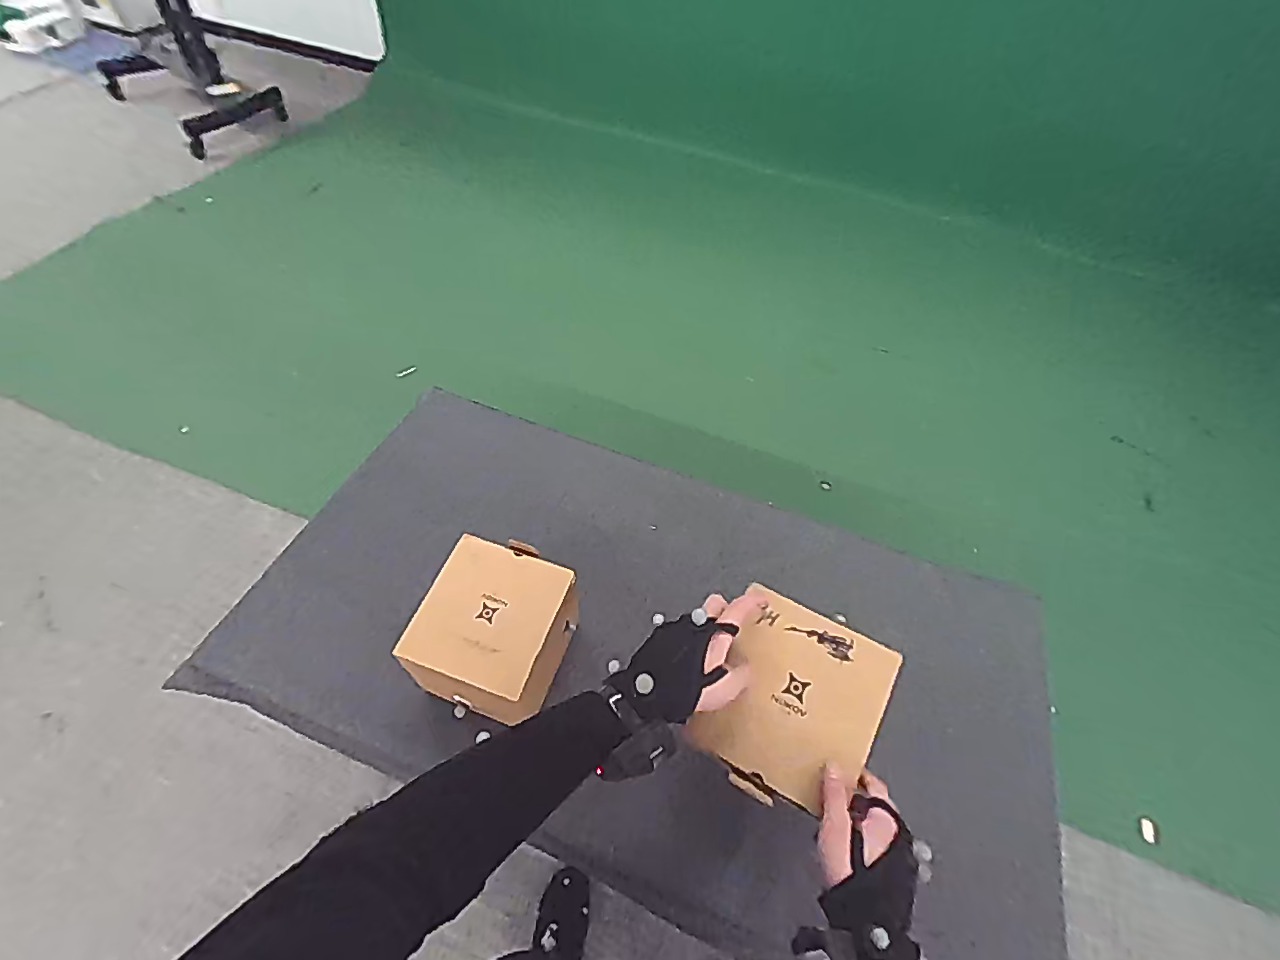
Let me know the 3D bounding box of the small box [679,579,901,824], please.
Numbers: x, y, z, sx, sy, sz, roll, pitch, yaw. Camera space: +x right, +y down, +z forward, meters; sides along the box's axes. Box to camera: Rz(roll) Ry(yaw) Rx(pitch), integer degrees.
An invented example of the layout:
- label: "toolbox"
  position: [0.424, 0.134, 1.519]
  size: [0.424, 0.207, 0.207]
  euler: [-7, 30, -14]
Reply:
- label: "small box"
  position: [0.159, 0.246, 0.616]
  size: [0.168, 0.176, 0.179]
  euler: [29, 70, 17]

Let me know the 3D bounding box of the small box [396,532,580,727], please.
- label: "small box"
  position: [-0.191, 0.205, 0.732]
  size: [0.168, 0.176, 0.179]
  euler: [18, 54, 8]
